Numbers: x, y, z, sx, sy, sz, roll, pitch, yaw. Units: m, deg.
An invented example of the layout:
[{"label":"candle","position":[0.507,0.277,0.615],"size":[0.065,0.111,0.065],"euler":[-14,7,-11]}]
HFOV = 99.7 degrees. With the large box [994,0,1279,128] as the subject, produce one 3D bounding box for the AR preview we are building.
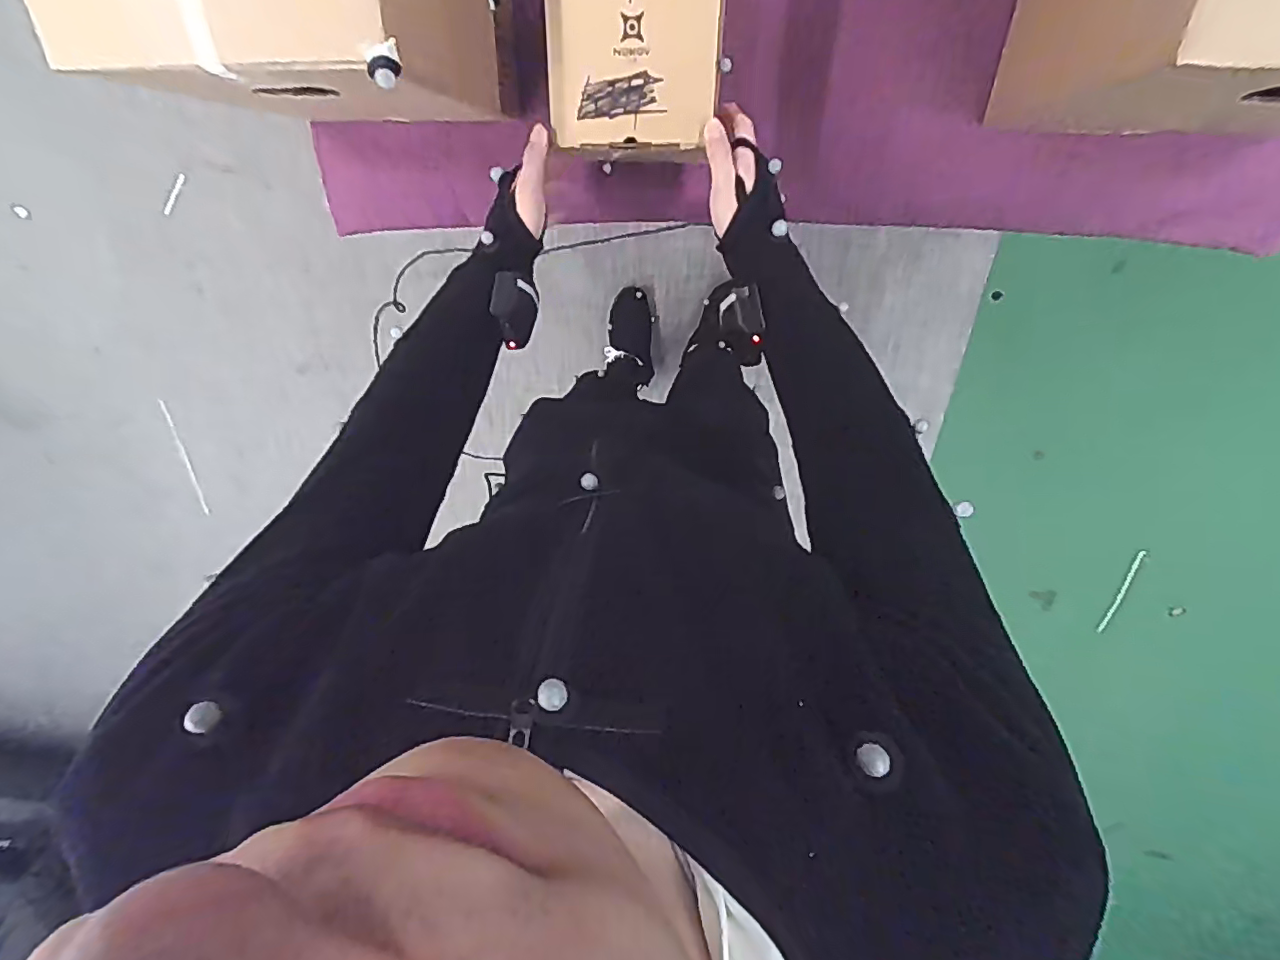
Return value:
[{"label":"large box","position":[0.537,-0.510,0.389],"size":[0.320,0.320,0.408],"euler":[5,118,7]}]
